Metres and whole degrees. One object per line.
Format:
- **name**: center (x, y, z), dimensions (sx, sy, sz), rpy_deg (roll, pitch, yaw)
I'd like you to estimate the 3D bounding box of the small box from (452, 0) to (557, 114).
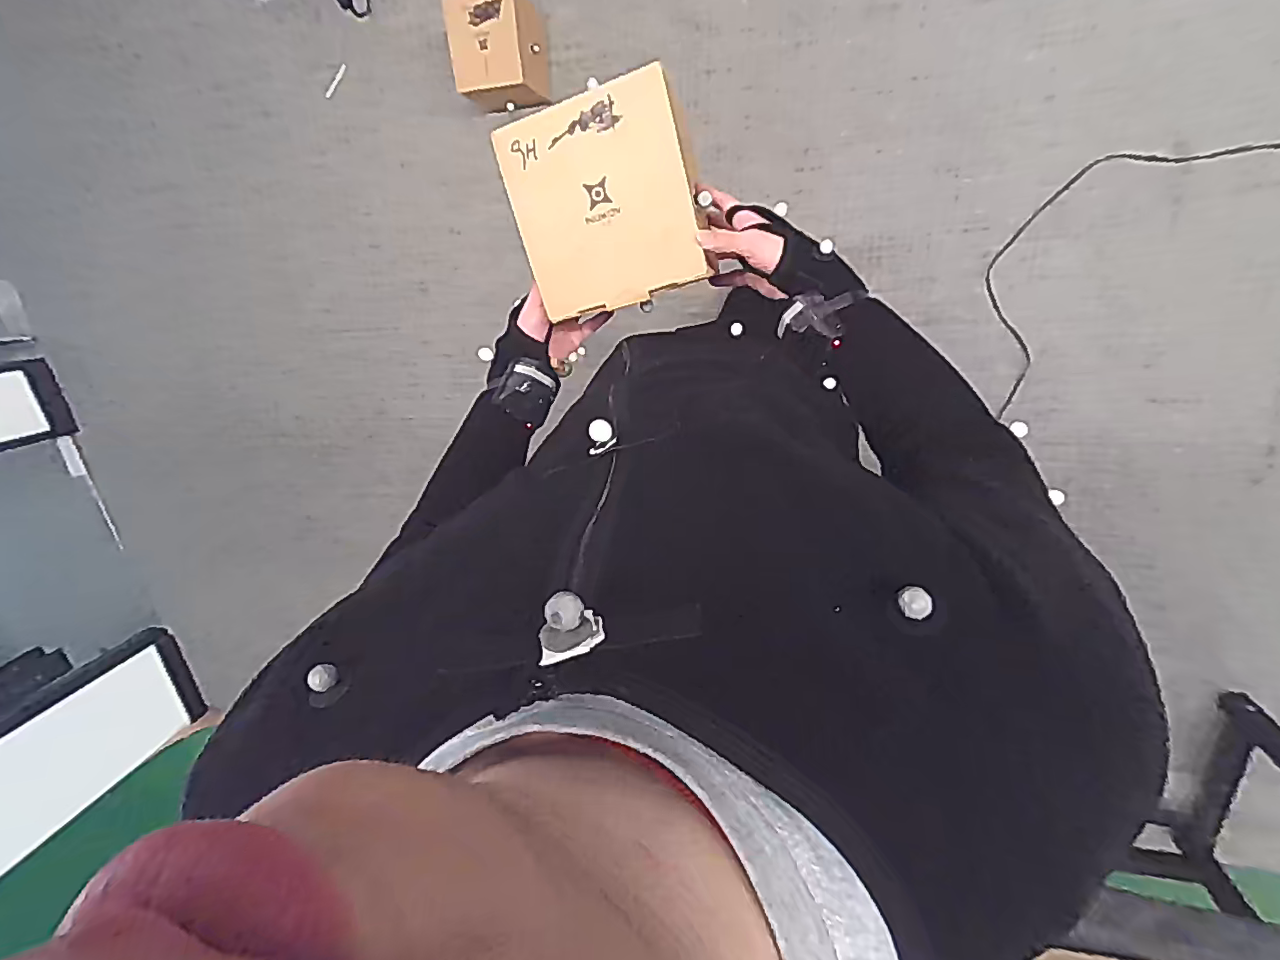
- **small box**: center (-0.304, -0.976, 1.250), dimensions (0.168, 0.176, 0.179), rpy_deg (2, 113, 15)
